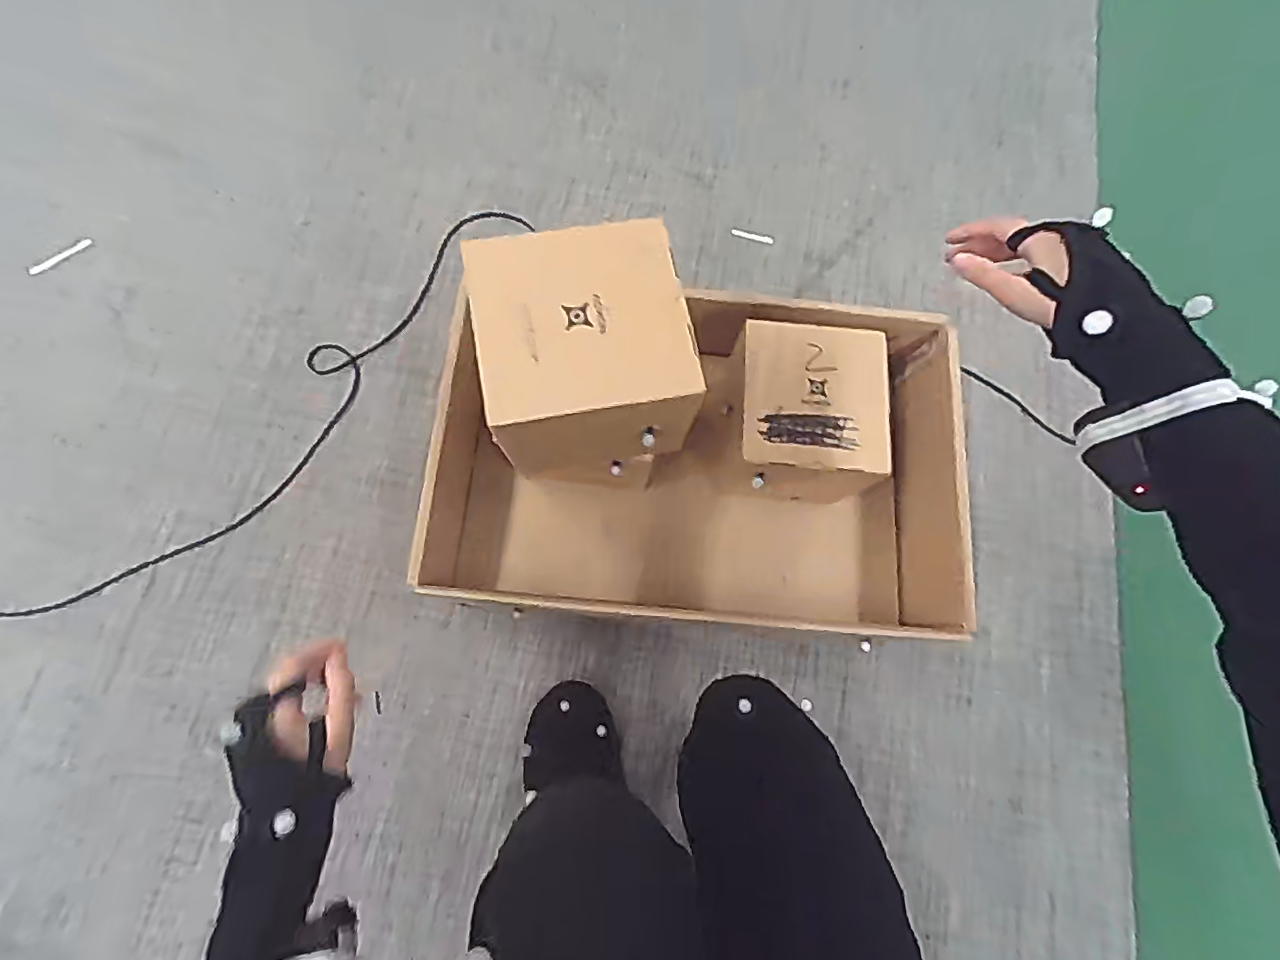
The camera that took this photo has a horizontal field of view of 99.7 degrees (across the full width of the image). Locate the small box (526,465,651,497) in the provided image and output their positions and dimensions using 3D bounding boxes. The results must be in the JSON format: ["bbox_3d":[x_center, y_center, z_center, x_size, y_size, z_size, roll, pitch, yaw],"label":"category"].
[{"bbox_3d":[-0.068,-0.080,0.680,0.179,0.176,0.168,6,76,-2],"label":"small box"}]

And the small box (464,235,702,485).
[{"bbox_3d":[-0.053,-0.102,0.519,0.179,0.176,0.168,-10,77,-5],"label":"small box"}]
